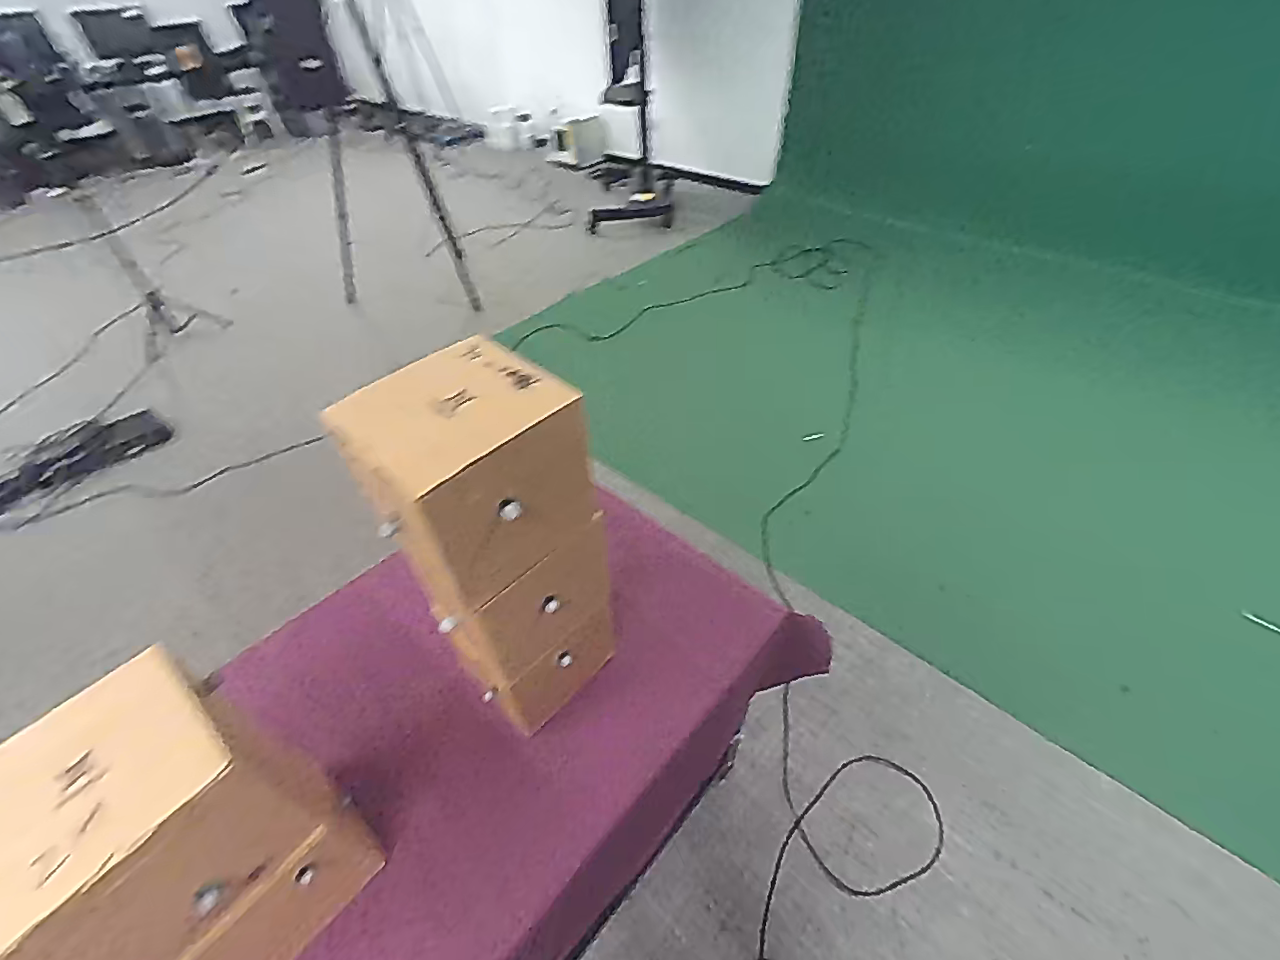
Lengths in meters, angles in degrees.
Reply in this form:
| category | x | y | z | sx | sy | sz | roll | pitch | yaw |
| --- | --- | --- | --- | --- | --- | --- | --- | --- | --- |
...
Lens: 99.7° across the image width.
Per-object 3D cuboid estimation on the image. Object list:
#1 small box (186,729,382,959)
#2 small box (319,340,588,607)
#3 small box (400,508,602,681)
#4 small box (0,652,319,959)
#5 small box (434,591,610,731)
| category | x | y | z | sx | sy | sz | roll | pitch | yaw |
| --- | --- | --- | --- | --- | --- | --- | --- | --- | --- |
| small box | -0.426 | 0.425 | 0.595 | 0.168 | 0.176 | 0.179 | 28 | 52 | 28 |
| small box | -0.170 | -0.007 | 0.546 | 0.168 | 0.176 | 0.179 | 33 | 56 | 29 |
| small box | -0.160 | 0.105 | 0.666 | 0.168 | 0.176 | 0.179 | 33 | 56 | 30 |
| small box | -0.437 | 0.300 | 0.486 | 0.179 | 0.176 | 0.168 | 28 | 53 | 28 |
| small box | -0.158 | 0.223 | 0.781 | 0.168 | 0.176 | 0.179 | 33 | 55 | 30 |
